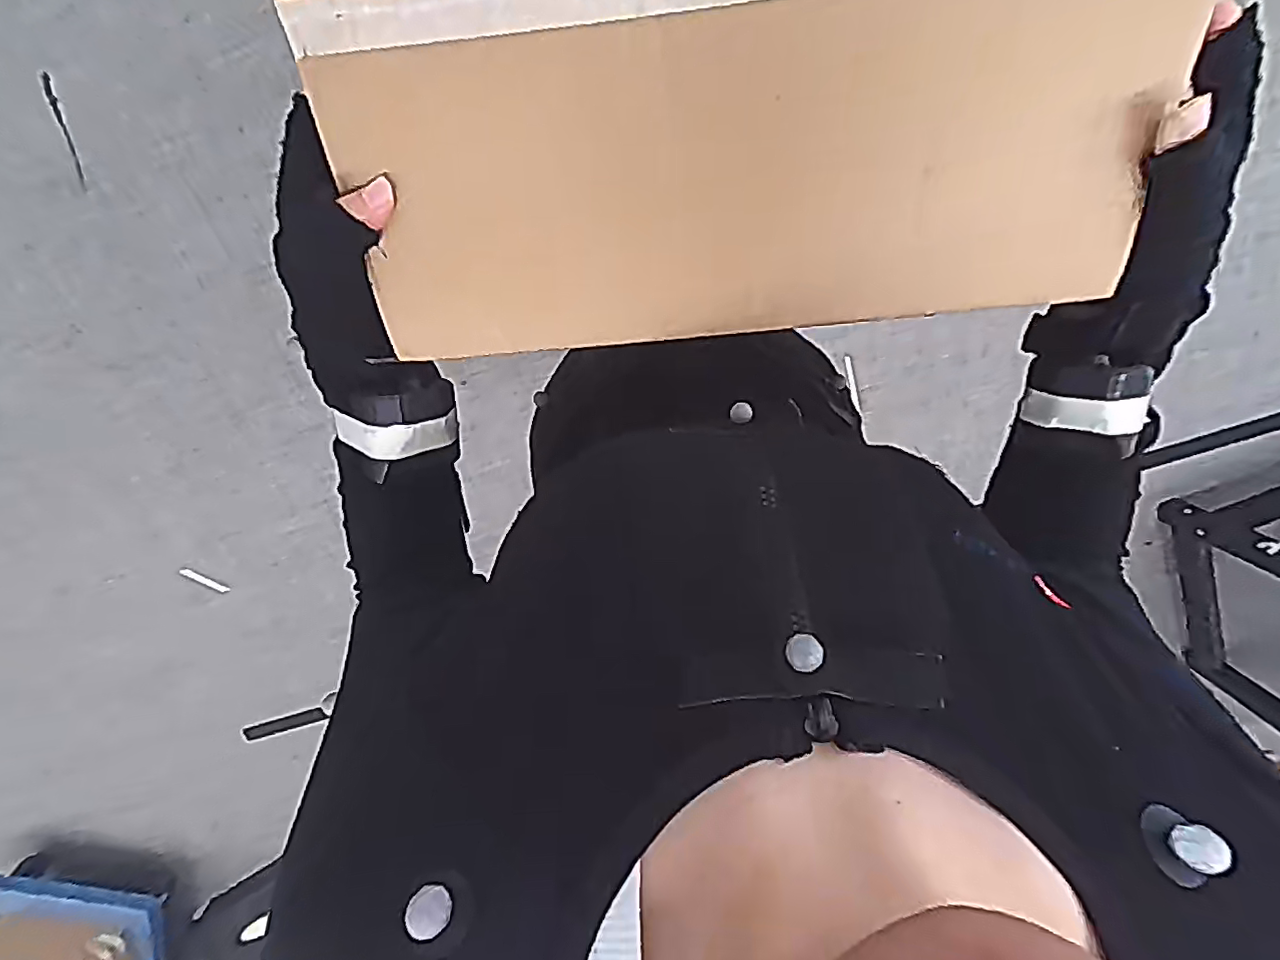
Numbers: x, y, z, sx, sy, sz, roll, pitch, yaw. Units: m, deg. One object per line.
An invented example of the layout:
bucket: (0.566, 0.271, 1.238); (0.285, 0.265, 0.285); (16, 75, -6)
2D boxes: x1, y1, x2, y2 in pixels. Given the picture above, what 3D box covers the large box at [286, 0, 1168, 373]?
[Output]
large box: (0.042, -0.292, 0.371); (0.408, 0.320, 0.320); (-5, 120, 3)
